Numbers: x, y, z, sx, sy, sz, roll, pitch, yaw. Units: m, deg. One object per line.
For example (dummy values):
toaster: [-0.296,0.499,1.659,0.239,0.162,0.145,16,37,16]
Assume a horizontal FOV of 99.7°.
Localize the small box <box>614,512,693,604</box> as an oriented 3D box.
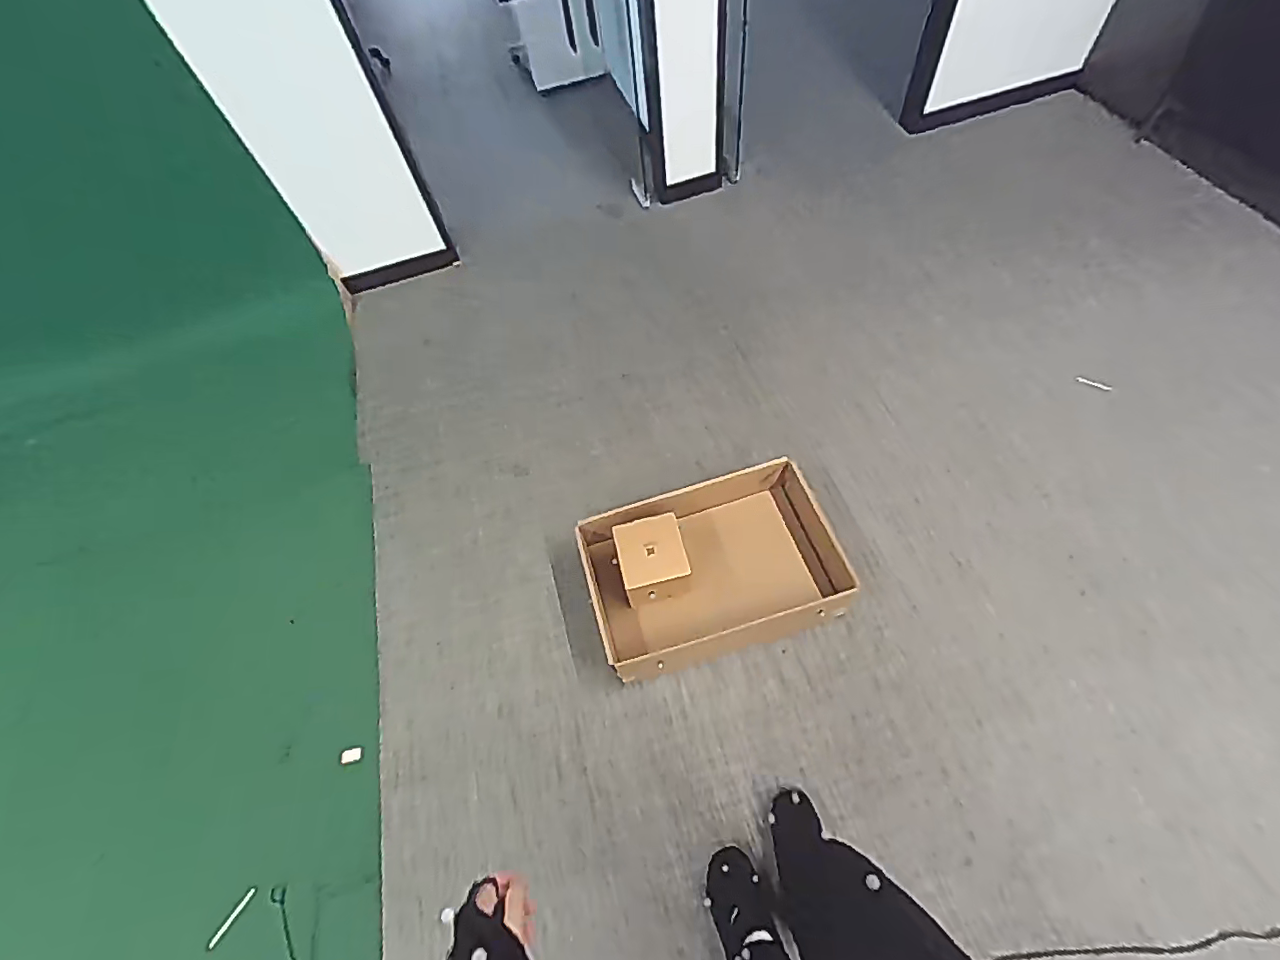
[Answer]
small box: [0.039,0.210,1.408,0.168,0.176,0.179,-14,59,-2]
